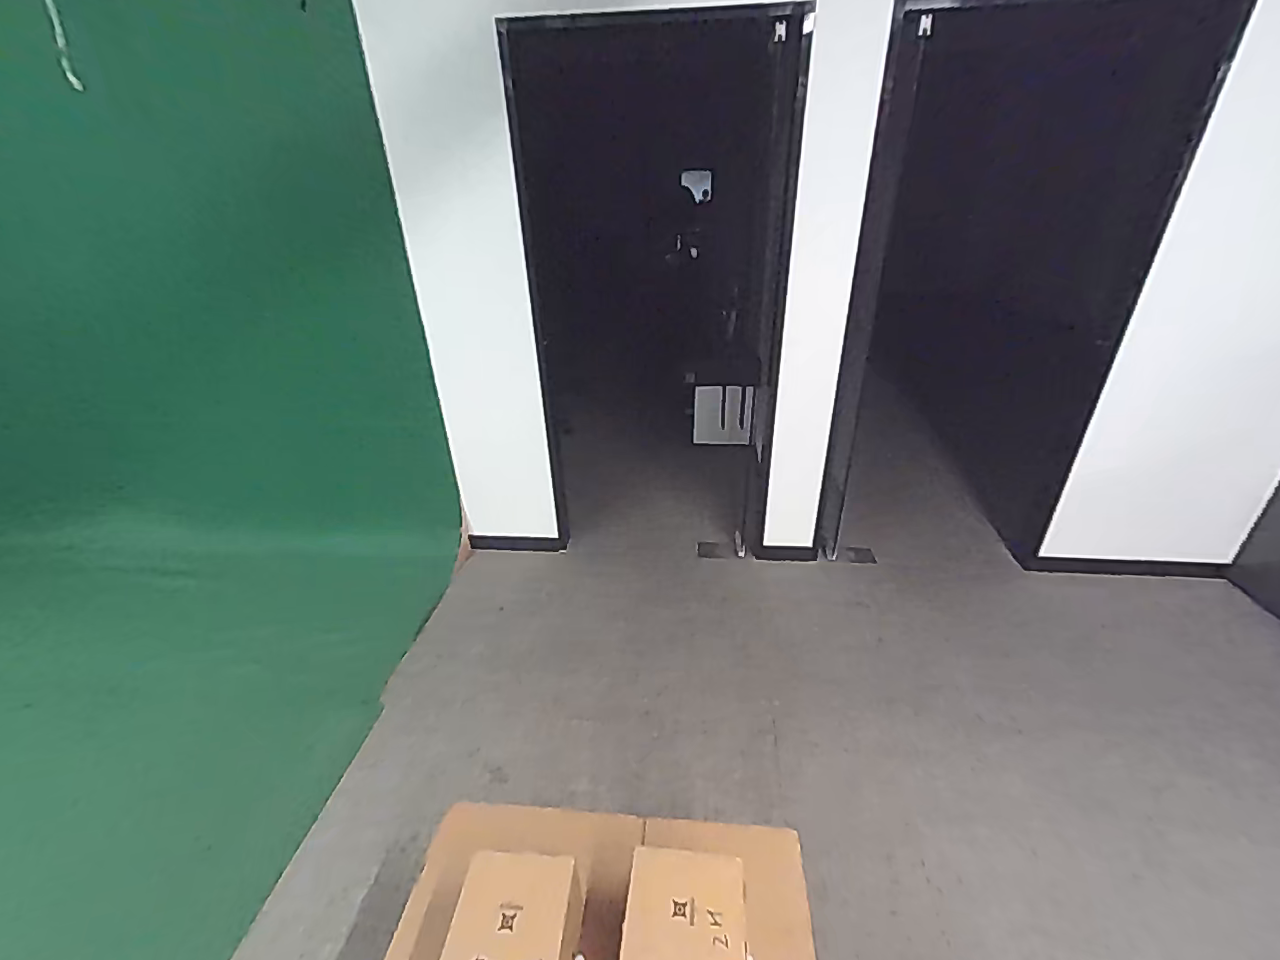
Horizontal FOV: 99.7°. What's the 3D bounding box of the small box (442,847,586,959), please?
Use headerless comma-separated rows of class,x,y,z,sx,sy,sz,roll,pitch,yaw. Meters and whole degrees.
small box,-0.181,0.703,0.822,0.168,0.176,0.179,-1,27,6
